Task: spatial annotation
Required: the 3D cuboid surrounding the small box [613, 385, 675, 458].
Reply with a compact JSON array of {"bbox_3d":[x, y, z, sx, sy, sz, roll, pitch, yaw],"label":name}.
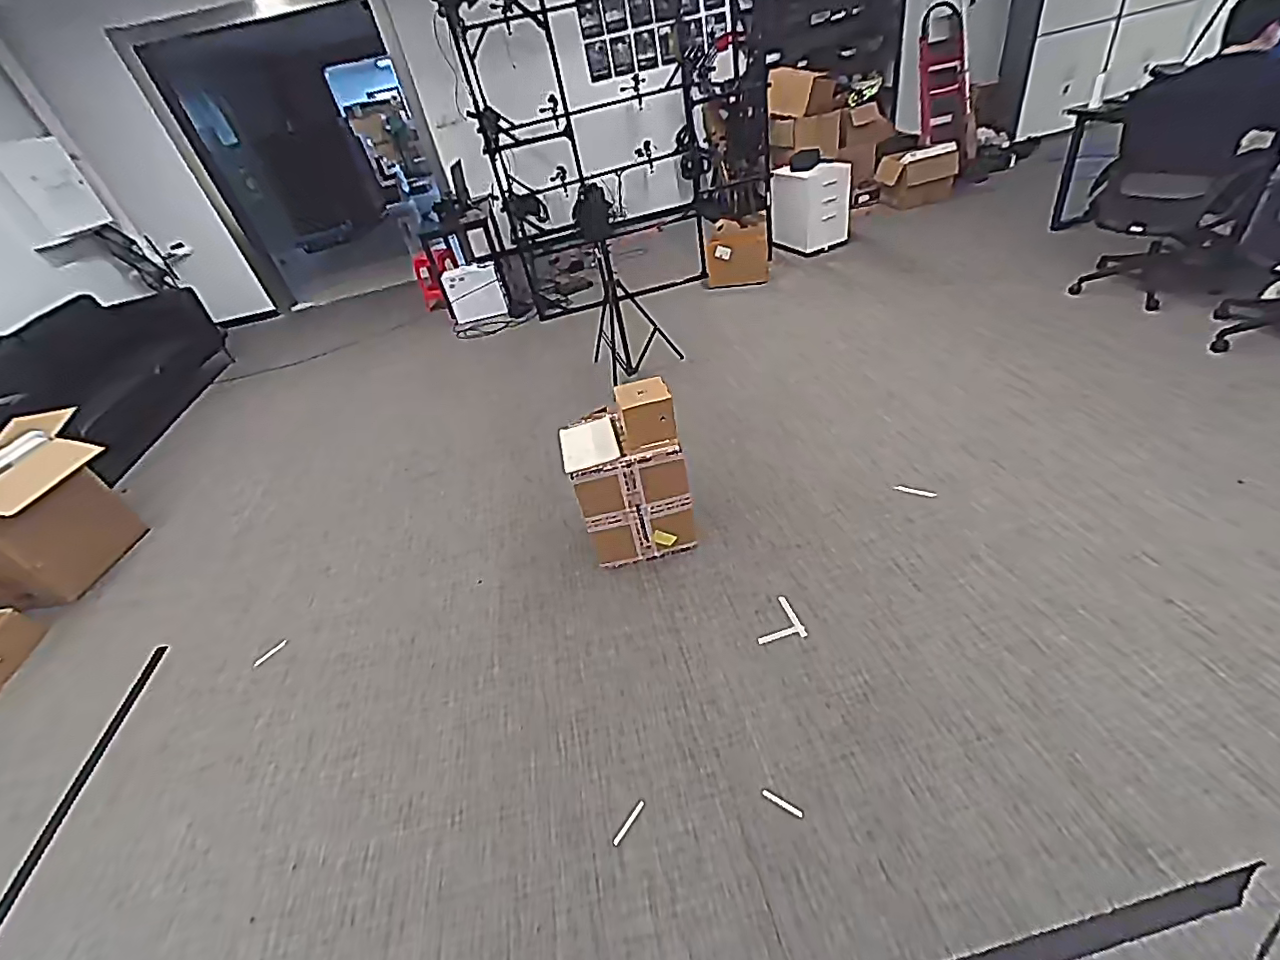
[{"bbox_3d":[0.016,-0.201,1.872,0.179,0.176,0.168,-15,39,-5],"label":"small box"}]
